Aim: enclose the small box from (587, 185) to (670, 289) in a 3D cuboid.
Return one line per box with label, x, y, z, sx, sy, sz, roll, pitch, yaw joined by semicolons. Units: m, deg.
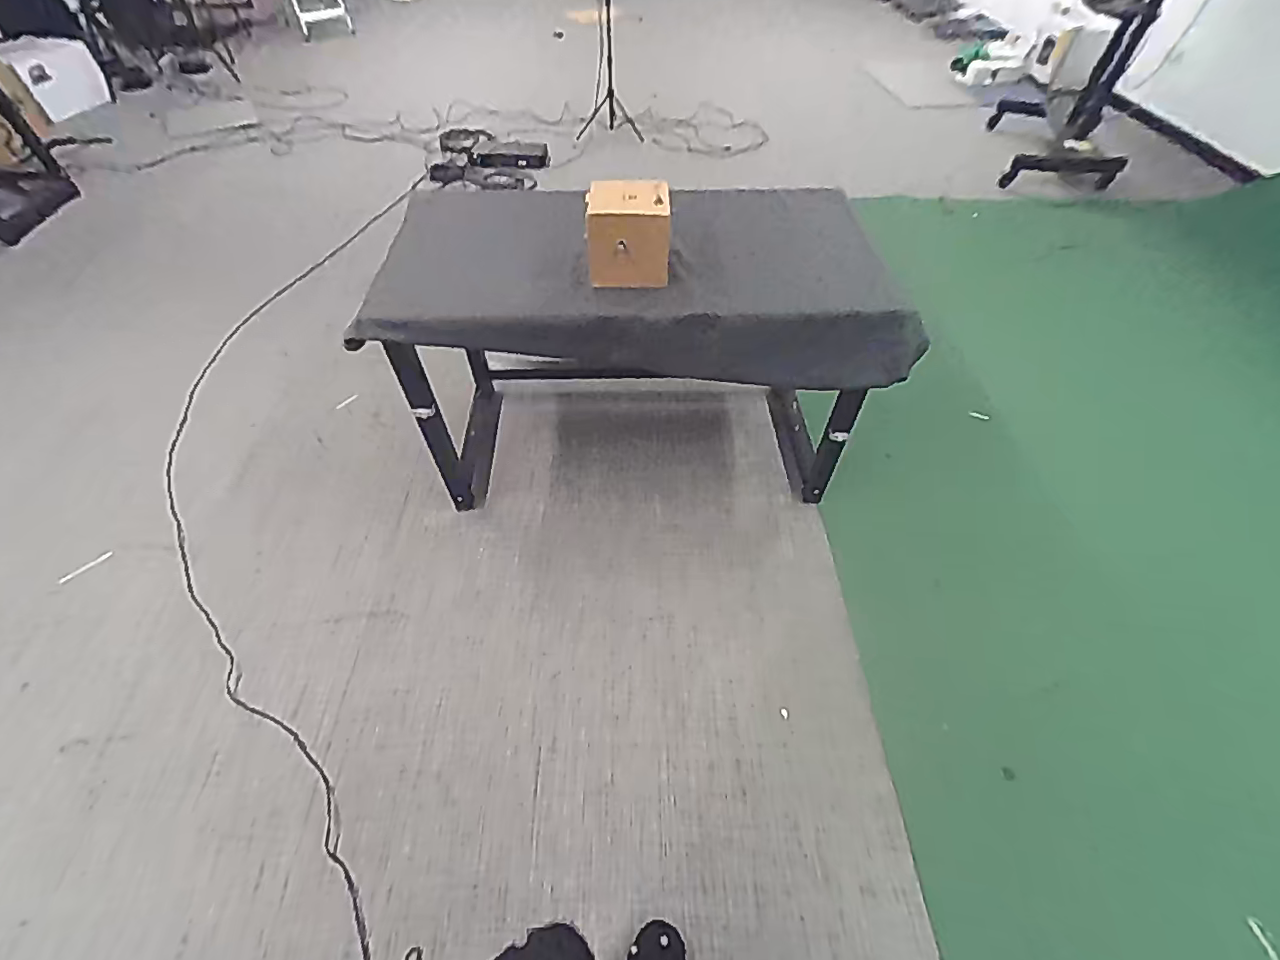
small box;-0.026;-0.550;1.231;0.179;0.176;0.168;-2;50;-3
